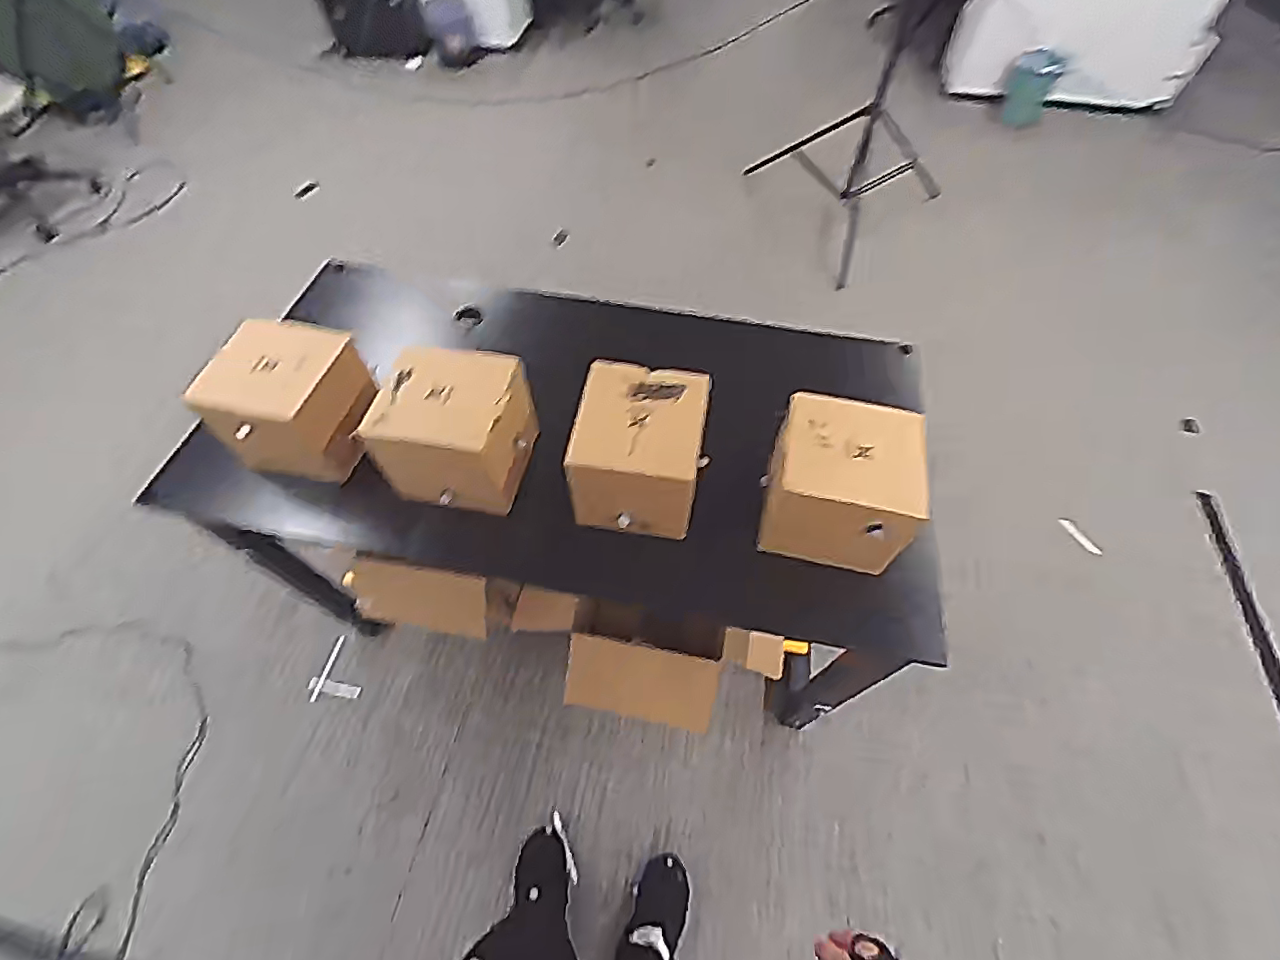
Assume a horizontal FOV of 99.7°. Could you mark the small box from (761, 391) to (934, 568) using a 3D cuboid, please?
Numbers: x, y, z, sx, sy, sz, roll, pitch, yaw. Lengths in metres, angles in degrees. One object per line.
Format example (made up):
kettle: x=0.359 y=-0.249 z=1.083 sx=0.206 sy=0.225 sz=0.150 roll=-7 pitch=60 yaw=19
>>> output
small box: x=0.279 y=0.006 z=0.751 sx=0.179 sy=0.176 sz=0.168 roll=12 pitch=57 yaw=8

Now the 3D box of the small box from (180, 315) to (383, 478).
small box: x=-0.522 y=-0.121 z=0.828 sx=0.179 sy=0.176 sz=0.168 roll=12 pitch=59 yaw=6

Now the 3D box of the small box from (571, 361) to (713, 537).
small box: x=0.005 y=-0.041 z=0.781 sx=0.168 sy=0.176 sz=0.179 roll=8 pitch=58 yaw=5

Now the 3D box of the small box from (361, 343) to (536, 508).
small box: x=-0.264 y=-0.074 z=0.800 sx=0.179 sy=0.176 sz=0.168 roll=9 pitch=58 yaw=5
